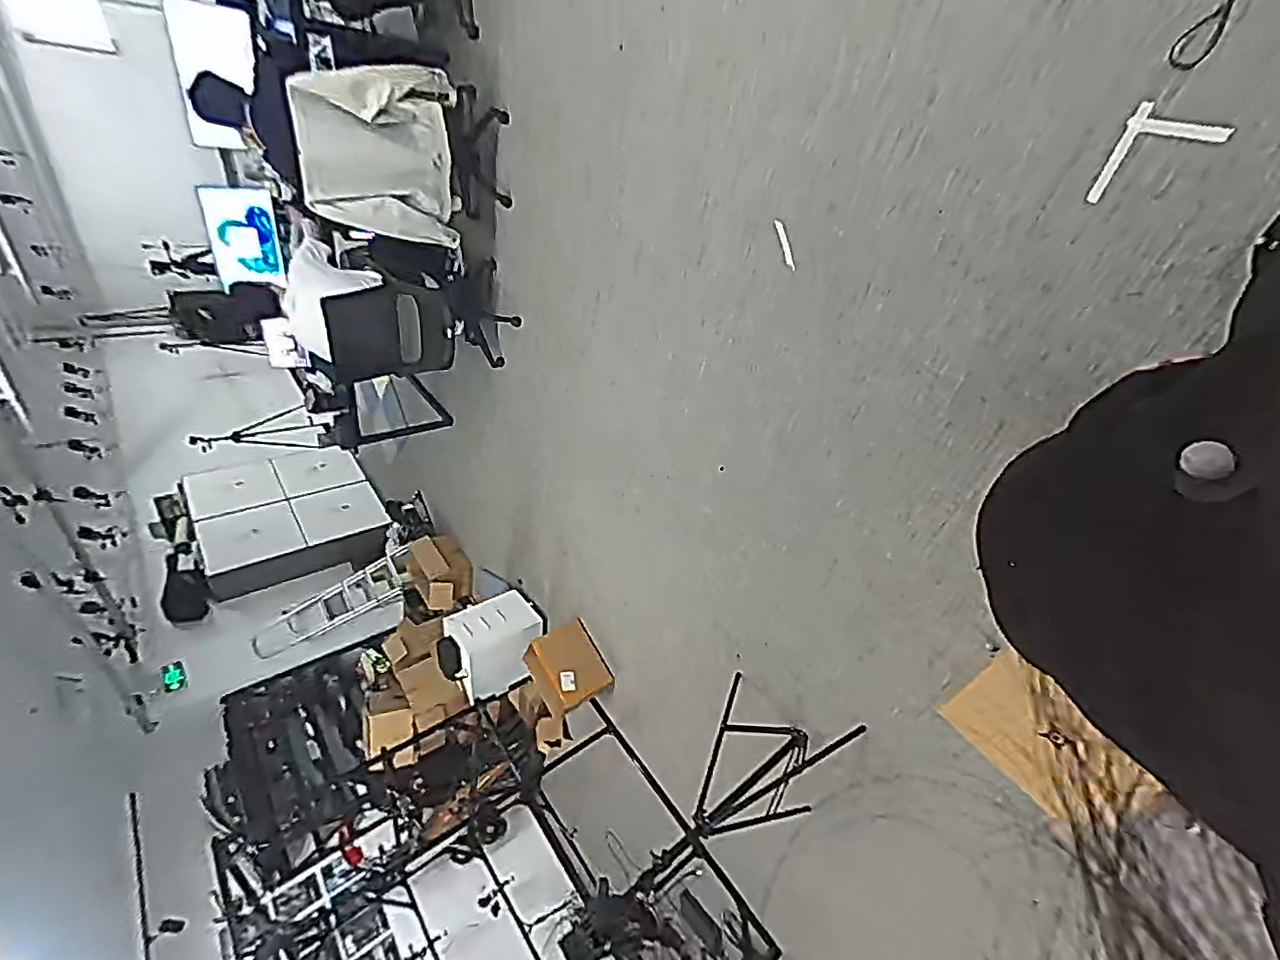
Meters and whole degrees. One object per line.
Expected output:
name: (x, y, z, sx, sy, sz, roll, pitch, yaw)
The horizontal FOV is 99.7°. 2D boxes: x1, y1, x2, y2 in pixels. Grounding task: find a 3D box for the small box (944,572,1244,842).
small box: (0.476, 0.229, 0.576, 0.168, 0.176, 0.179, 45, 137, 32)
